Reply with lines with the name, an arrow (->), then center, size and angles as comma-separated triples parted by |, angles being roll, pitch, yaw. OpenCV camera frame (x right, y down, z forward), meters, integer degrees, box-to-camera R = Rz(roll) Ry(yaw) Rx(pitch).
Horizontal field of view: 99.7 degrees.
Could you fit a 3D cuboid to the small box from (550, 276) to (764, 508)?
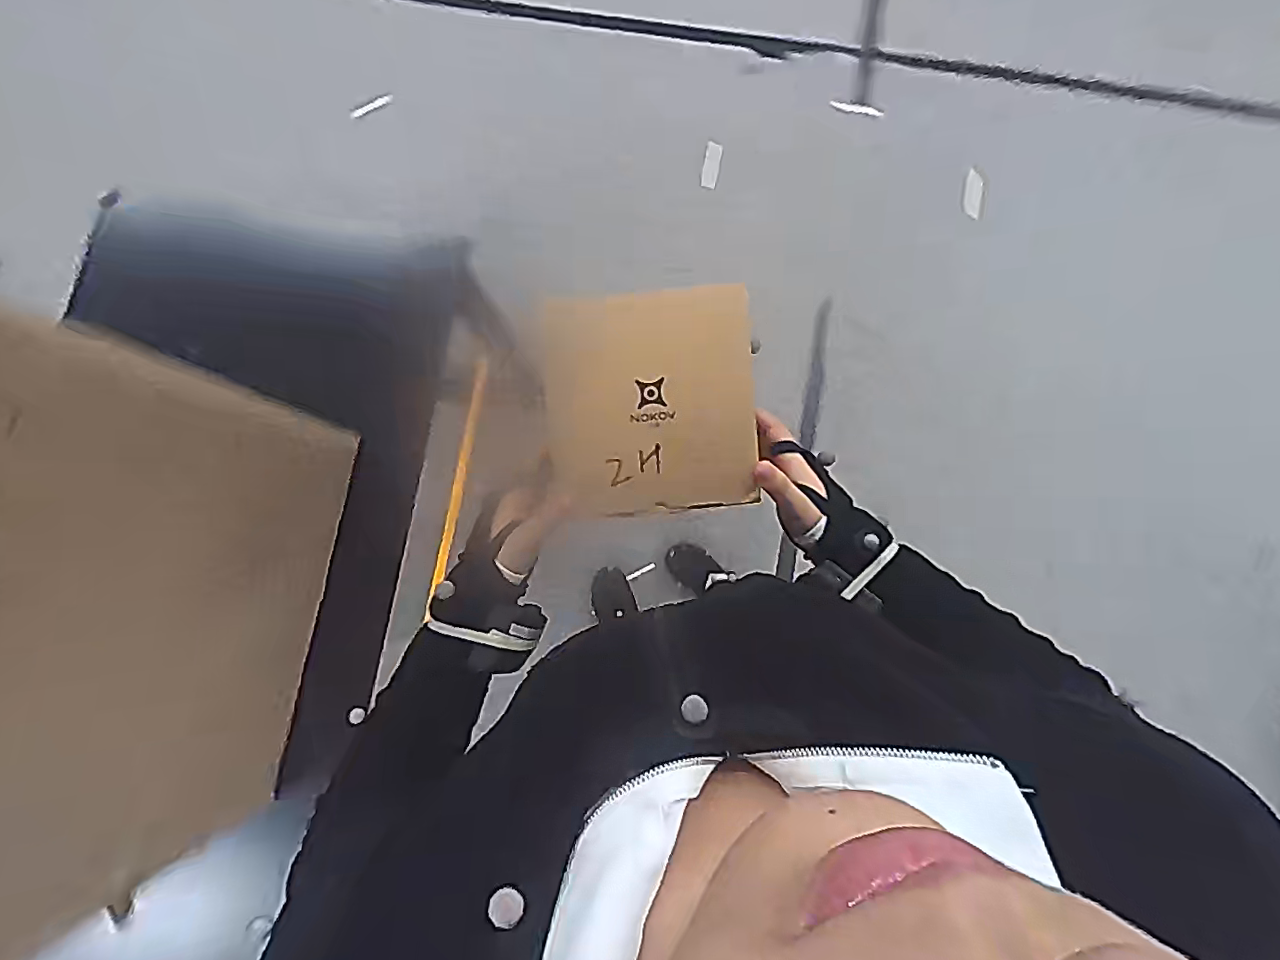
small box -> 0.013, -0.075, 0.502 | 0.168, 0.176, 0.179 | -3, 97, 0
